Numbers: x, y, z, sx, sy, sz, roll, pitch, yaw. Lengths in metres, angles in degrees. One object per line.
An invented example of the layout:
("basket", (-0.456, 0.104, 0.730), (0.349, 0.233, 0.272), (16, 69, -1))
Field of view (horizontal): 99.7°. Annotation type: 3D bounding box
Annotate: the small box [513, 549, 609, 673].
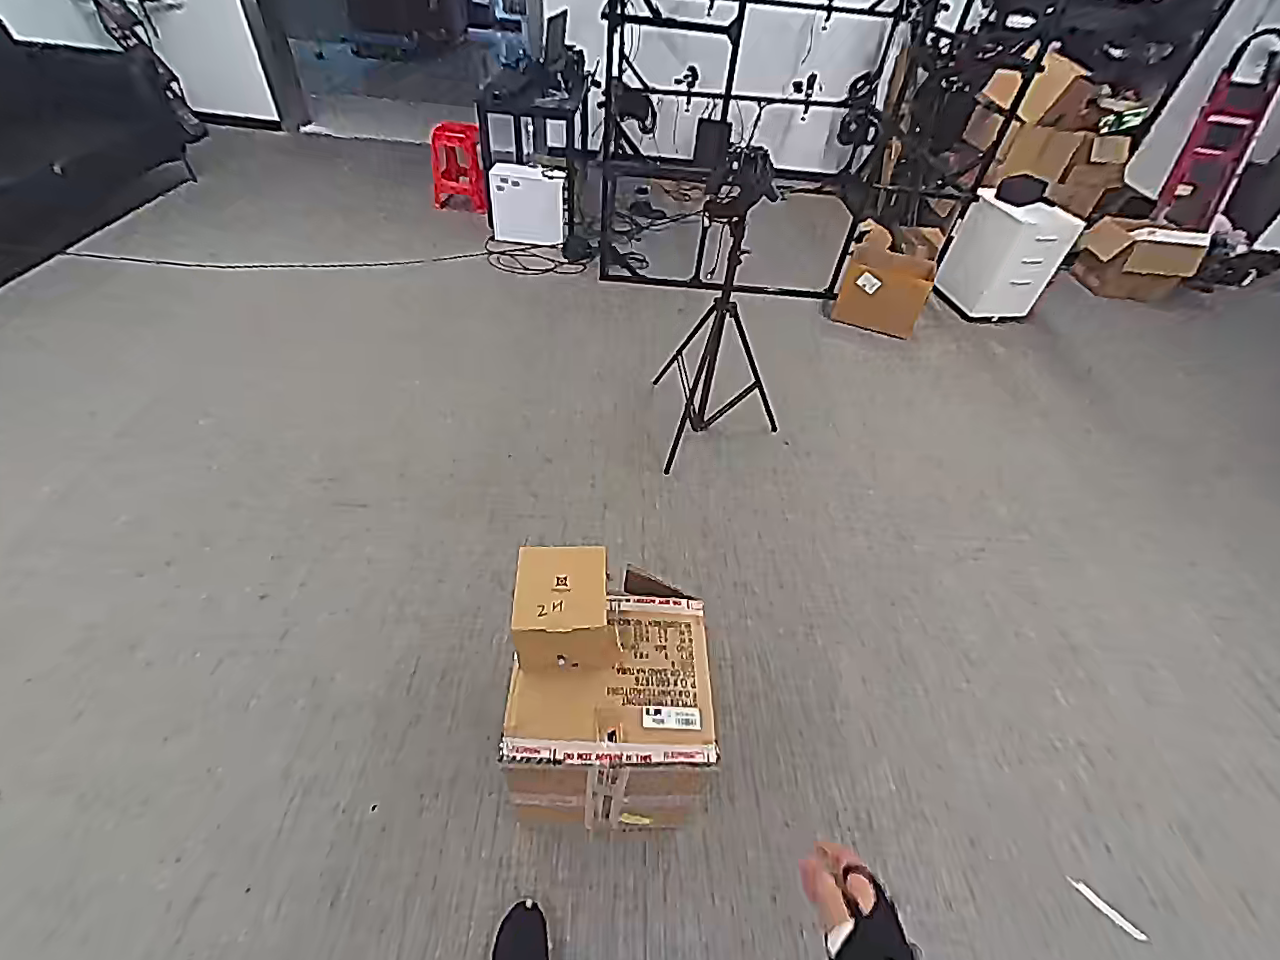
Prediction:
("small box", (-0.145, 0.251, 1.038), (0.168, 0.176, 0.179), (-1, 48, -4))
